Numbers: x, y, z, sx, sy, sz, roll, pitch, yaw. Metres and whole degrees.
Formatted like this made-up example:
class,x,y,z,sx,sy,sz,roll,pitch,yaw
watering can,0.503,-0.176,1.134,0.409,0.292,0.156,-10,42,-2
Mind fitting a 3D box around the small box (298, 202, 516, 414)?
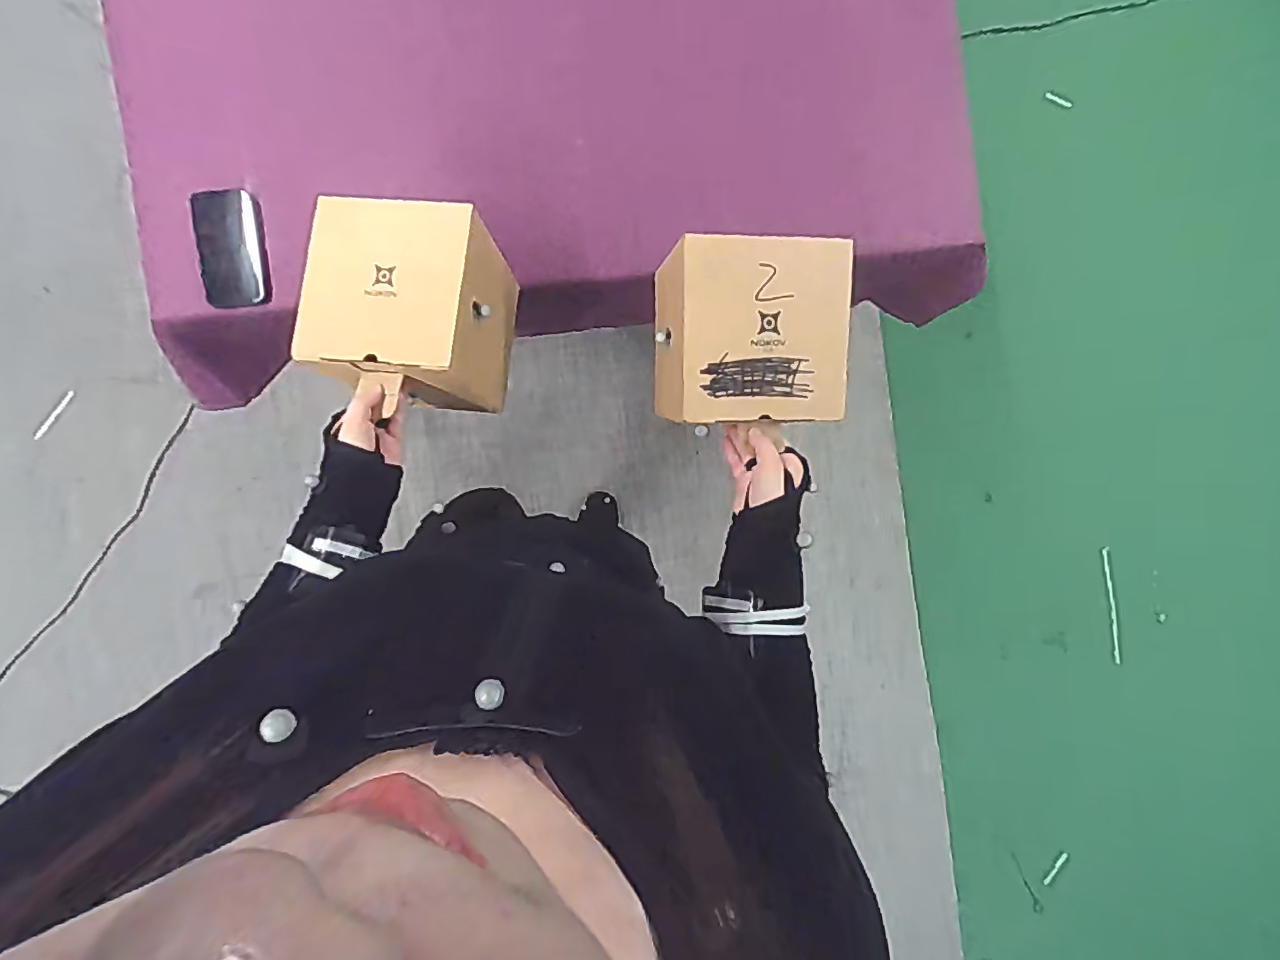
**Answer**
class,x,y,z,sx,sy,sz,roll,pitch,yaw
small box,-0.251,-0.187,0.627,0.168,0.176,0.179,5,84,4
